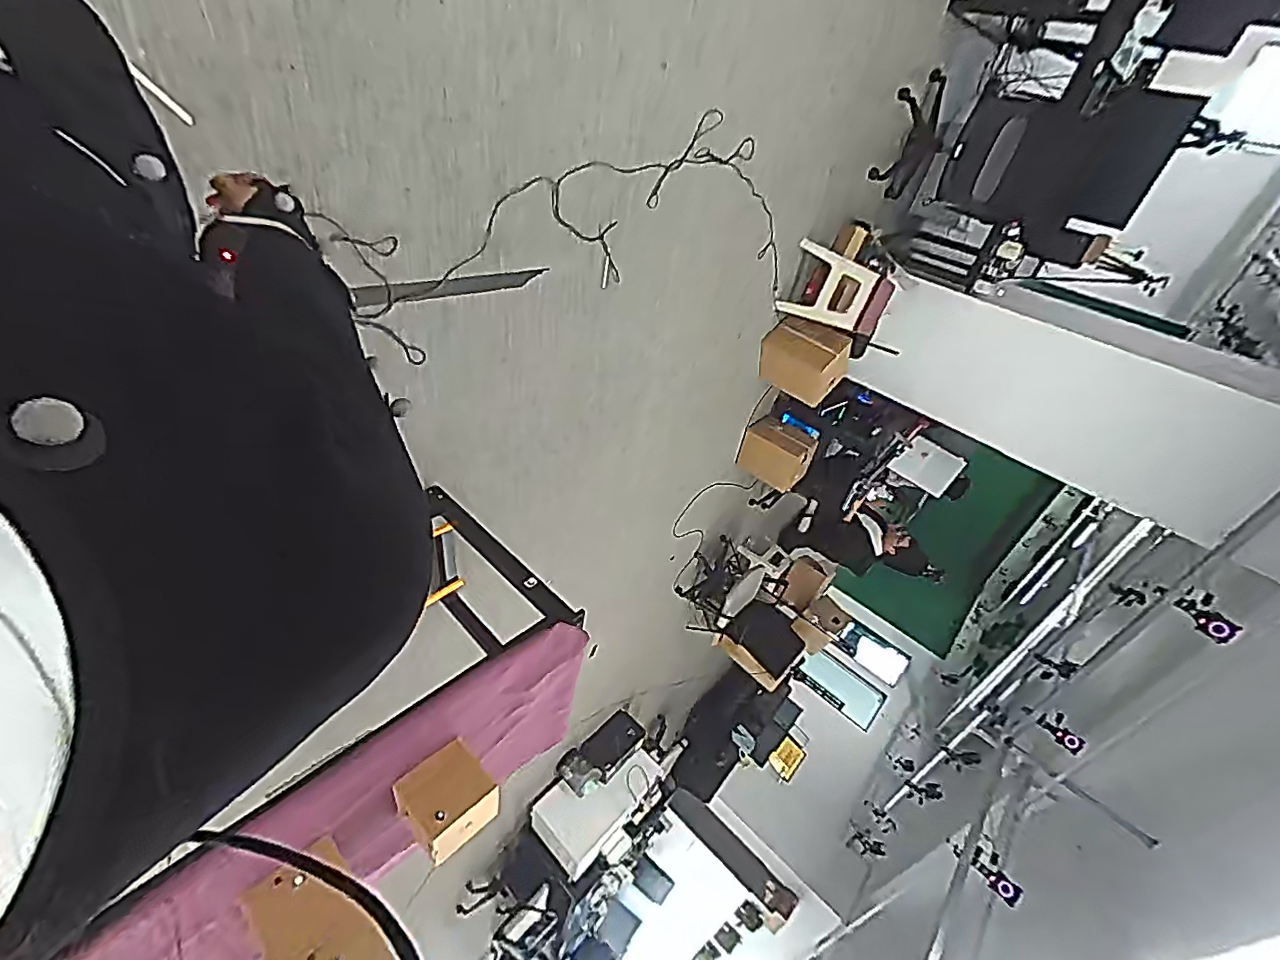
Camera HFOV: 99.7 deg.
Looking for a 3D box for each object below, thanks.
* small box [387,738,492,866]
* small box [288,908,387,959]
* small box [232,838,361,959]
[{"bbox_3d":[-0.482,0.768,1.306,0.179,0.176,0.168,-27,142,-41],"label":"small box"},{"bbox_3d":[-0.571,0.965,1.019,0.168,0.176,0.179,-28,142,-44],"label":"small box"},{"bbox_3d":[-0.688,0.880,1.098,0.168,0.176,0.179,-27,141,-43],"label":"small box"}]
